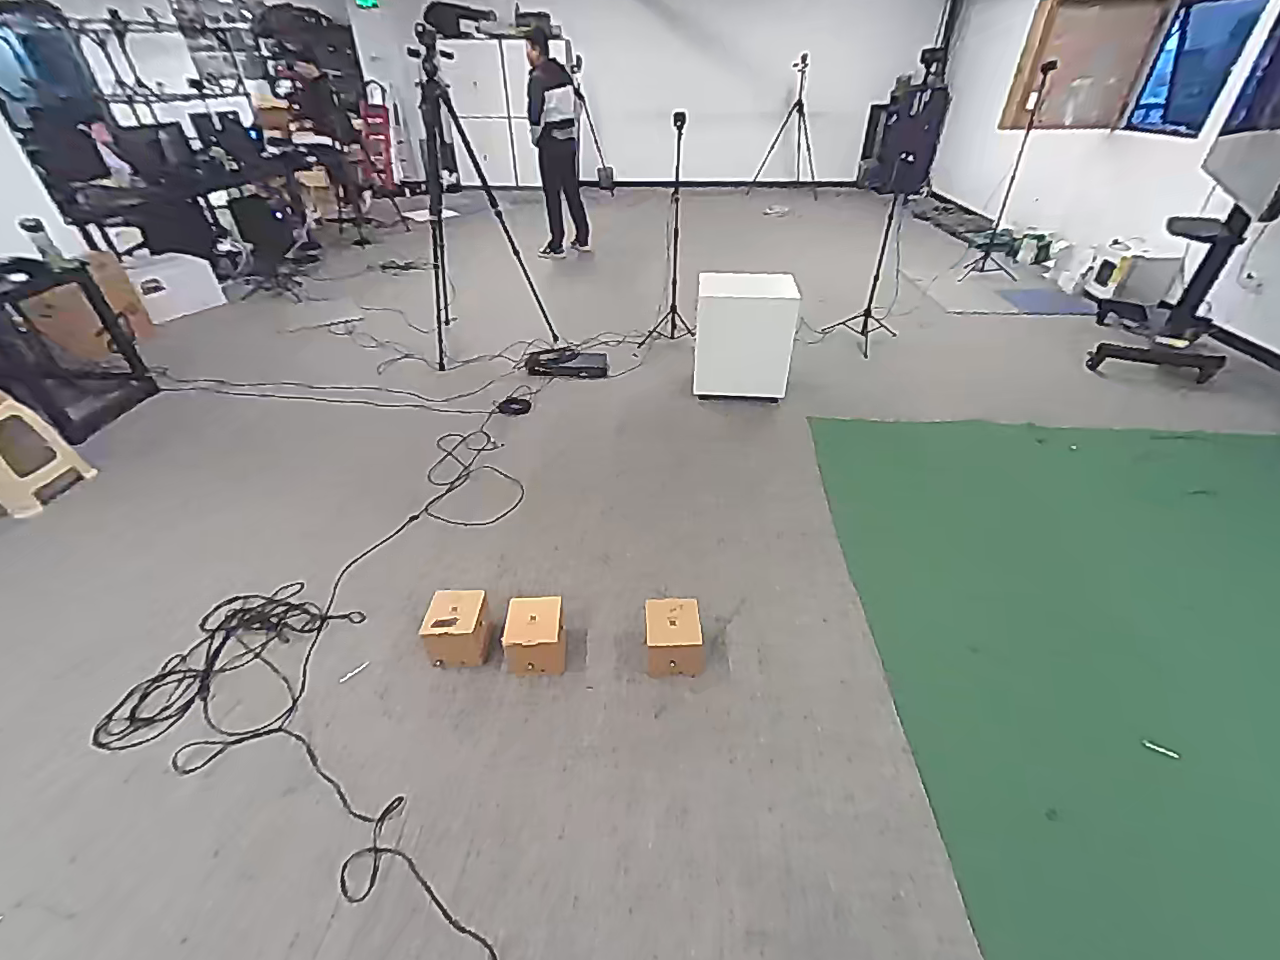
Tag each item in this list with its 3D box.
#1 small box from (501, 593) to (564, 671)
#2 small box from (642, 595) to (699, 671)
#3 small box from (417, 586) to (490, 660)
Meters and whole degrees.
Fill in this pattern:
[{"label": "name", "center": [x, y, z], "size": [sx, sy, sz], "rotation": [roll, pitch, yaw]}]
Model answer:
[{"label": "small box", "center": [-0.334, 0.479, 1.709], "size": [0.168, 0.176, 0.179], "rotation": [-2, 39, -2]}, {"label": "small box", "center": [0.092, 0.485, 1.701], "size": [0.168, 0.176, 0.179], "rotation": [0, 38, -2]}, {"label": "small box", "center": [-0.588, 0.459, 1.732], "size": [0.168, 0.176, 0.179], "rotation": [0, 37, 0]}]
